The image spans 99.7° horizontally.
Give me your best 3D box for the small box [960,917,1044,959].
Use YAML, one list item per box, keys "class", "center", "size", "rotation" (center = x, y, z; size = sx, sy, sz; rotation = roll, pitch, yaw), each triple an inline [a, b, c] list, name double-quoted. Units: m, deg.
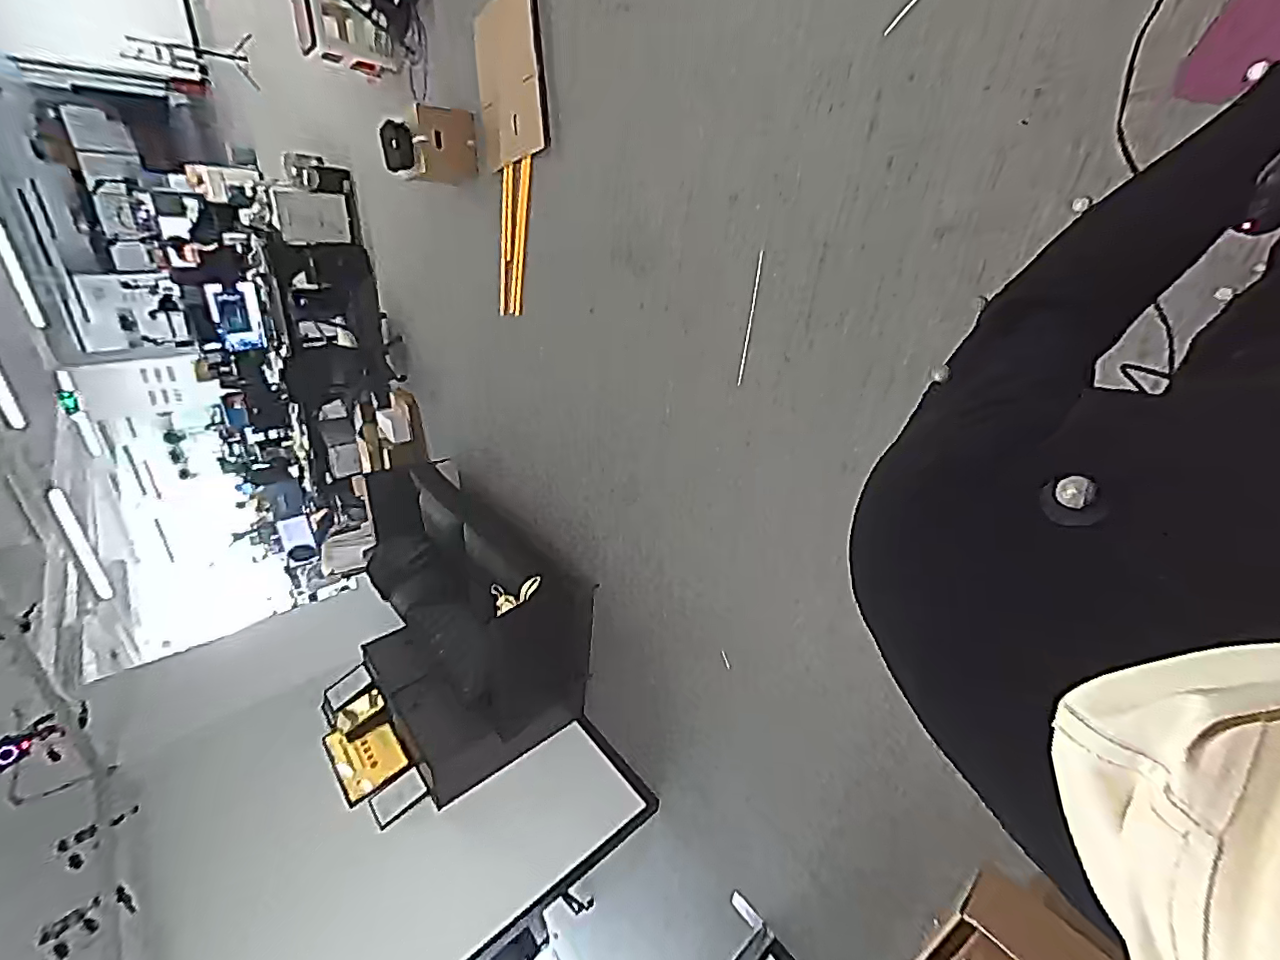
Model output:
- class: "small box"
  center: [0.888, 1.231, 1.320]
  size: [0.168, 0.176, 0.179]
  rotation: [32, 129, 39]
